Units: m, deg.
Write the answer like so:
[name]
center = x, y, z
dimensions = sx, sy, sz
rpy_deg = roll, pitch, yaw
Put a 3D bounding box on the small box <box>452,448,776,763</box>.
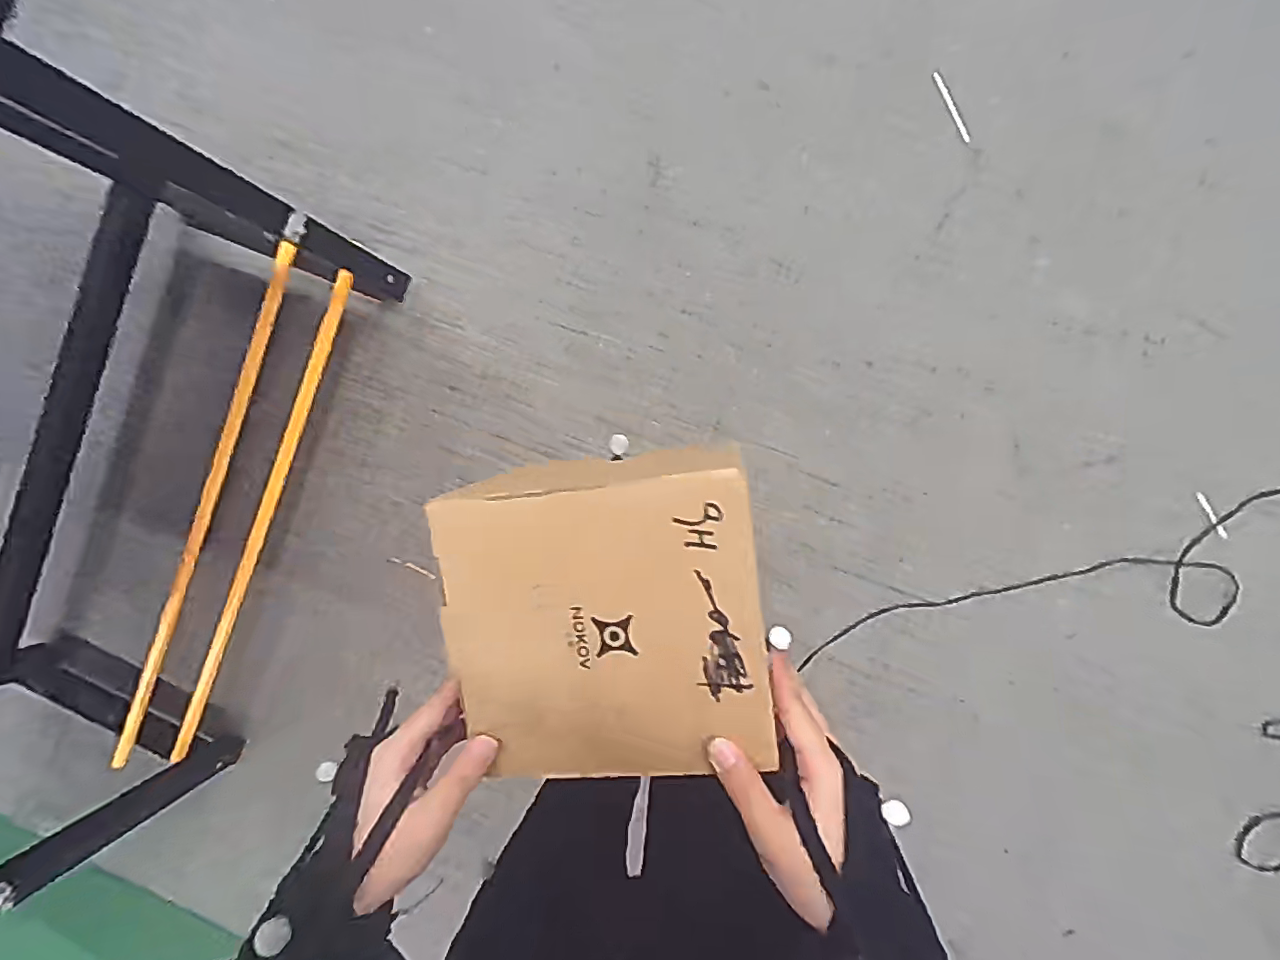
[small box]
center = -0.003, 0.070, 0.381
dimensions = 0.179, 0.176, 0.168
rpy_deg = -5, 97, 10
